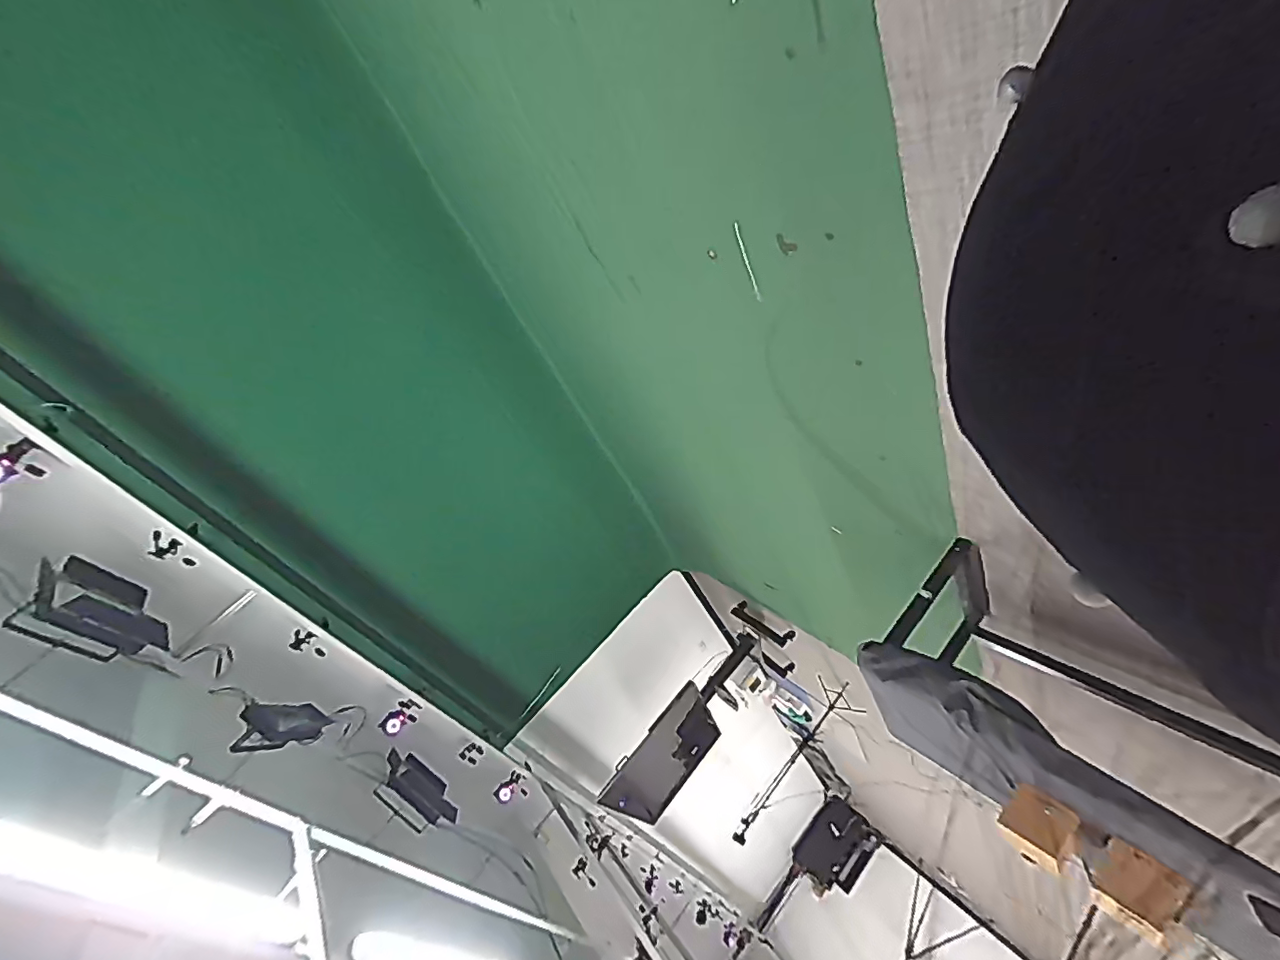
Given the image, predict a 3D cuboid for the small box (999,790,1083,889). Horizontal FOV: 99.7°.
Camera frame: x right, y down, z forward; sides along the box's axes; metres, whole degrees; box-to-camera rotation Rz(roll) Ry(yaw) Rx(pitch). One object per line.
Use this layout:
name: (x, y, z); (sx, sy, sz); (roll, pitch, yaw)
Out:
small box: (1.282, 1.139, 1.723); (0.168, 0.176, 0.179); (19, 147, 52)

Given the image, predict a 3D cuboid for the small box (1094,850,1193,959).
small box: (1.420, 1.197, 1.529); (0.168, 0.176, 0.179); (22, 151, 52)
